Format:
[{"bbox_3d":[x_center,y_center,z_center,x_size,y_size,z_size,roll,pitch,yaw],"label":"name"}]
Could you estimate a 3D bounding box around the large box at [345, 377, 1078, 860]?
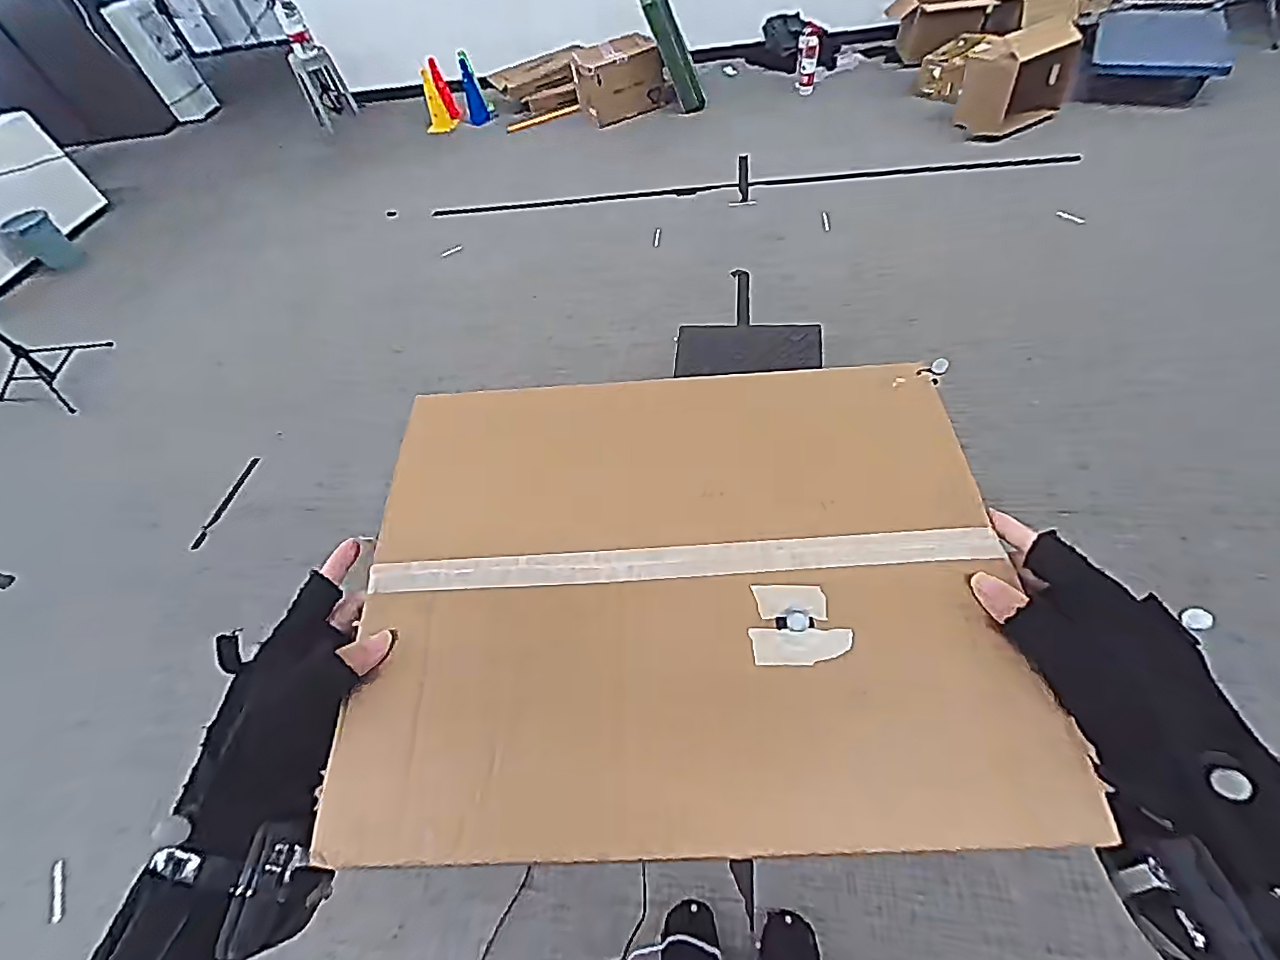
[{"bbox_3d":[0.036,0.136,0.491,0.408,0.320,0.320,-3,60,2],"label":"large box"}]
